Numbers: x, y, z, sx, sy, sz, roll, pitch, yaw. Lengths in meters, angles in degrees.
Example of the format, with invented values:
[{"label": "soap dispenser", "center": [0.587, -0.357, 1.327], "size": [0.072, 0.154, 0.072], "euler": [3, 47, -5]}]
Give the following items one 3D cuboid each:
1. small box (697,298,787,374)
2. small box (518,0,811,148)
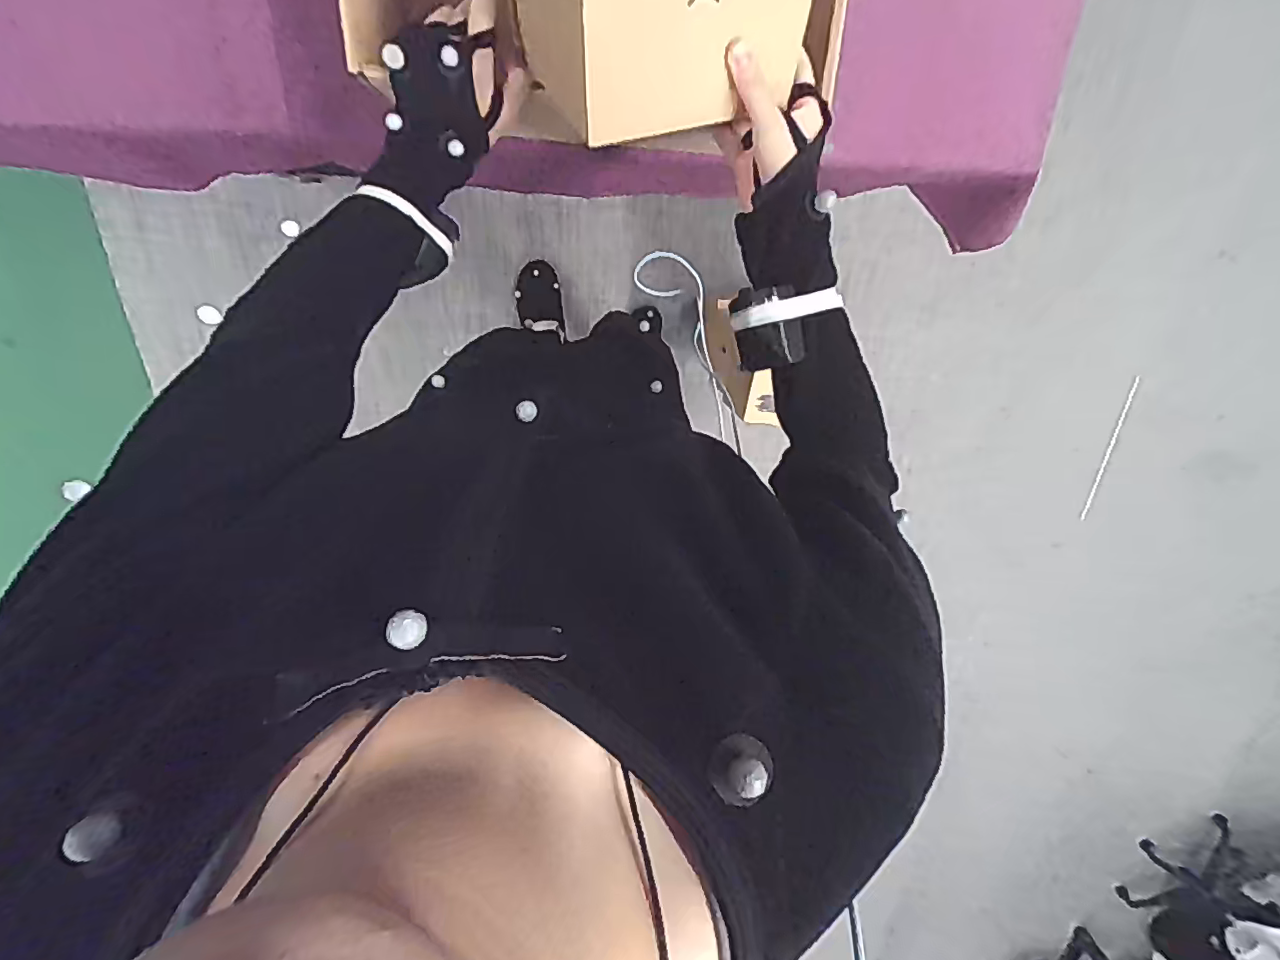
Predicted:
[{"label": "small box", "center": [0.253, -0.370, 1.376], "size": [0.179, 0.176, 0.168], "euler": [-1, 113, -6]}, {"label": "small box", "center": [0.009, -0.369, 0.370], "size": [0.168, 0.176, 0.179], "euler": [-19, 150, -13]}]
